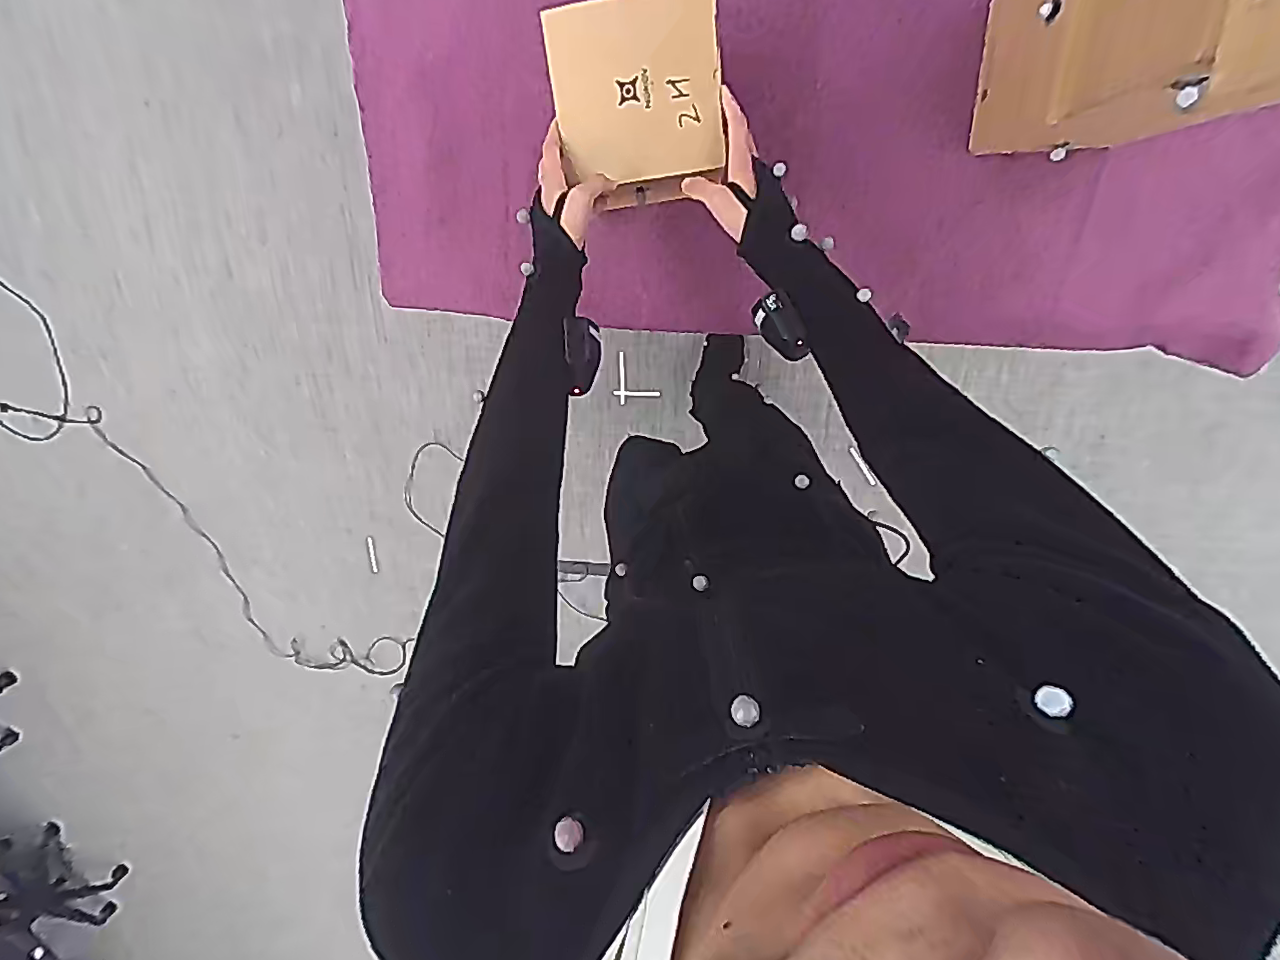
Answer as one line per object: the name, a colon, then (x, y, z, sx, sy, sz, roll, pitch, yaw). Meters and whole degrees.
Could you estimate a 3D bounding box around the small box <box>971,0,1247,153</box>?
small box: (0.489, -0.454, 0.565, 0.179, 0.176, 0.168, 0, 111, 5)

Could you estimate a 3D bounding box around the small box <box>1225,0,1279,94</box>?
small box: (0.471, -0.317, 0.266, 0.179, 0.176, 0.168, -3, 111, 7)

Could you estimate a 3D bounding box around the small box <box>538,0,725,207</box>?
small box: (0.001, -0.422, 0.620, 0.179, 0.176, 0.168, -5, 109, 6)
